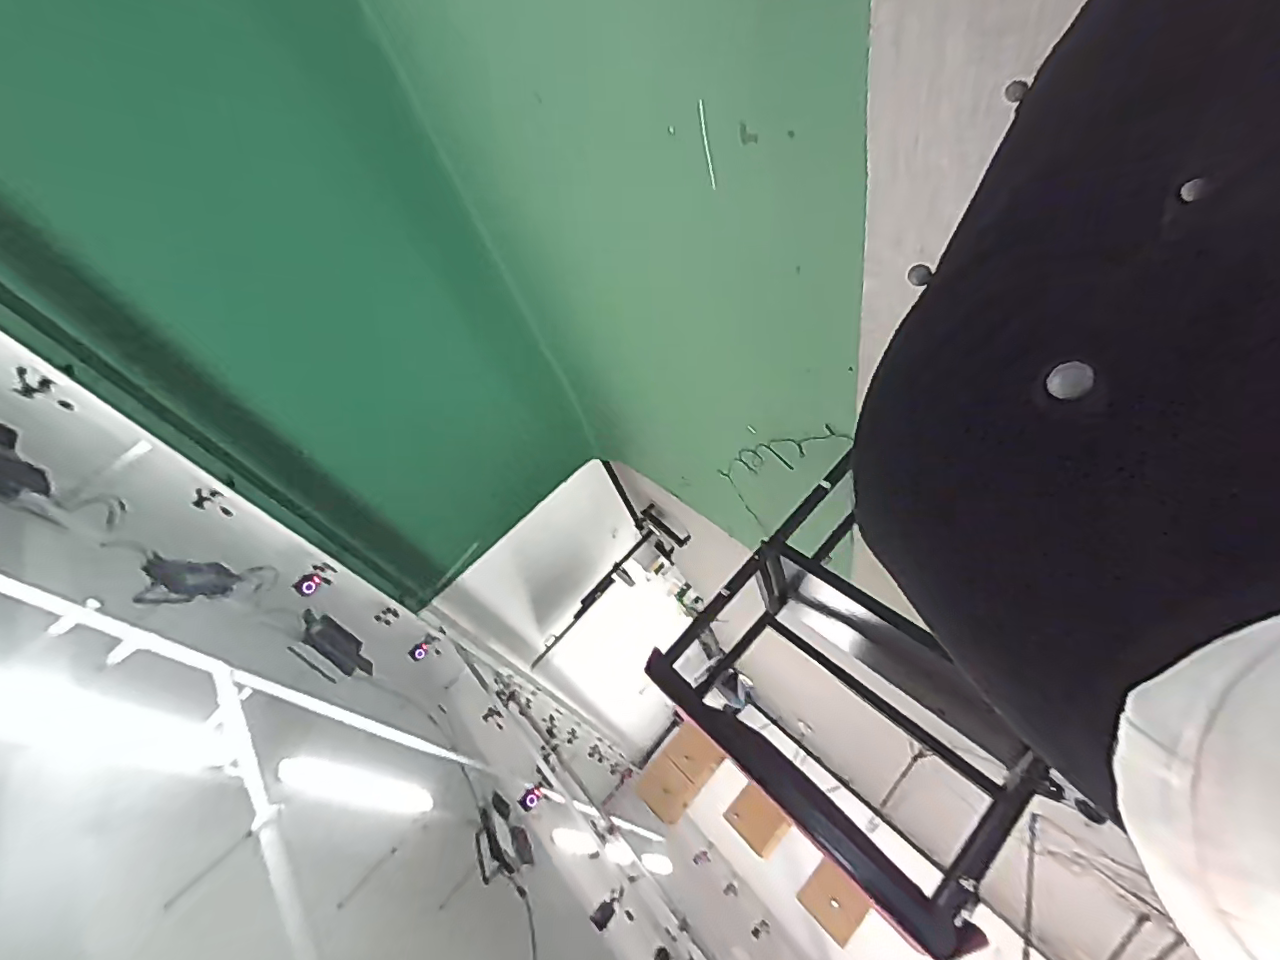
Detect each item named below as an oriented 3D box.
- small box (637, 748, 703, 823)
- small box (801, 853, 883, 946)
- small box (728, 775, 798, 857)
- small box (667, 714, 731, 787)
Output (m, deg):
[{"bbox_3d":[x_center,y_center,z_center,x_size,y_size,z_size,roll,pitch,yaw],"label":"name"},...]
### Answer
[{"bbox_3d":[0.123,1.154,2.045,0.179,0.176,0.168,33,160,34],"label":"small box"},{"bbox_3d":[0.638,1.314,1.704,0.179,0.176,0.168,32,160,40],"label":"small box"},{"bbox_3d":[0.440,1.182,1.903,0.179,0.176,0.168,34,162,39],"label":"small box"},{"bbox_3d":[0.236,1.043,2.086,0.179,0.176,0.168,35,162,34],"label":"small box"}]
